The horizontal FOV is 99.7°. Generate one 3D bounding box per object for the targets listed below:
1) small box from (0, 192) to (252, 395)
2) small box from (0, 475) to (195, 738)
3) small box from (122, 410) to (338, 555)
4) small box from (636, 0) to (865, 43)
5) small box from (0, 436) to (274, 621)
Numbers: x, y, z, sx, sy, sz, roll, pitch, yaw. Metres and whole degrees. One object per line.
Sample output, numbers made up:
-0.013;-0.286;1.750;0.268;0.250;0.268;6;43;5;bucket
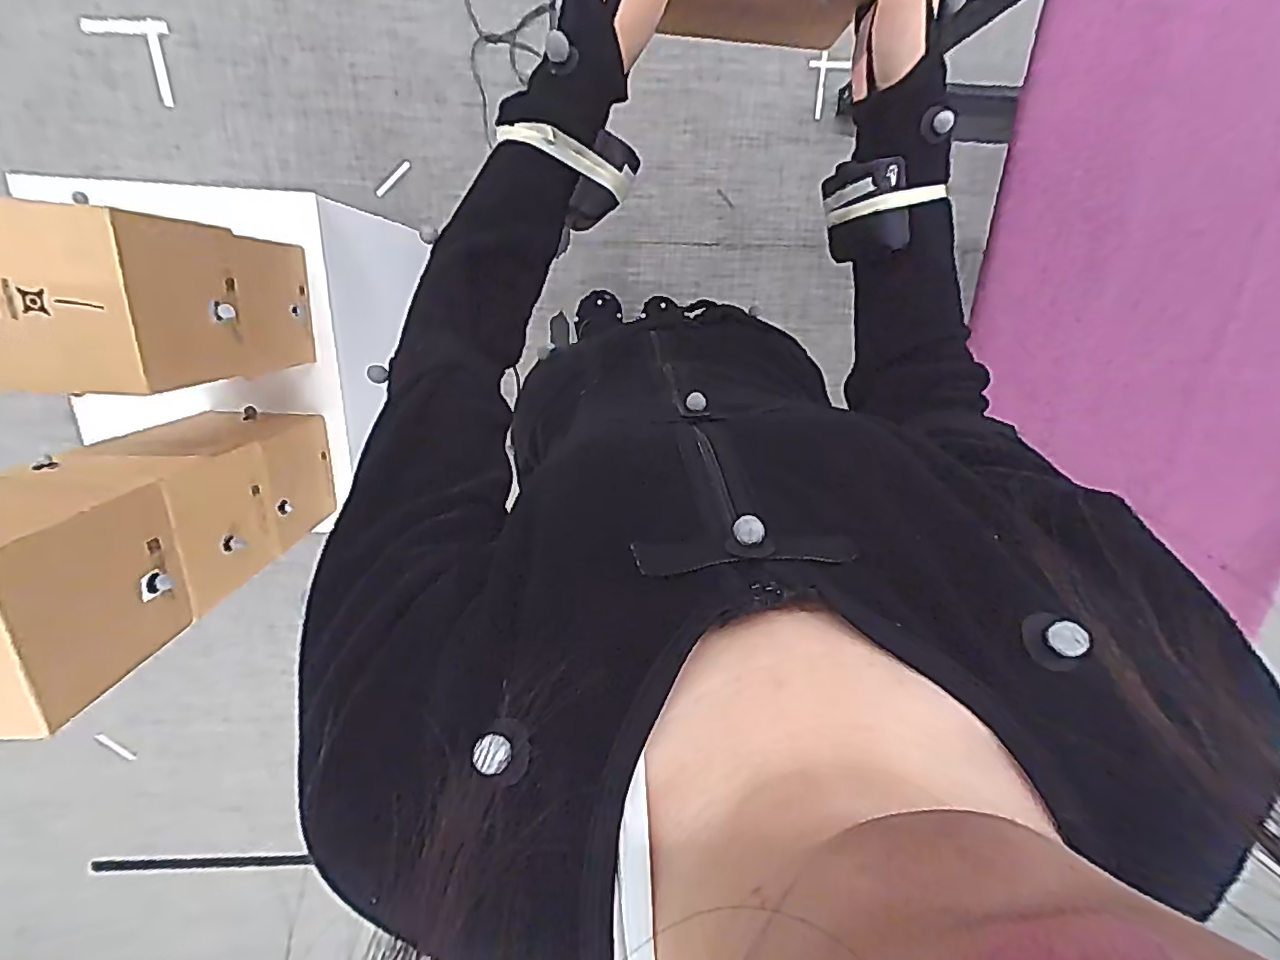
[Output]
-0.542;-0.186;0.547;0.179;0.176;0.168;3;109;-6;small box
-0.554;0.098;0.474;0.179;0.176;0.168;0;110;-4;small box
-0.574;-0.004;0.783;0.179;0.176;0.168;2;108;-3;small box
0.090;-0.430;0.364;0.179;0.176;0.168;4;110;-2;small box
-0.562;0.048;0.628;0.179;0.176;0.168;1;109;-3;small box
